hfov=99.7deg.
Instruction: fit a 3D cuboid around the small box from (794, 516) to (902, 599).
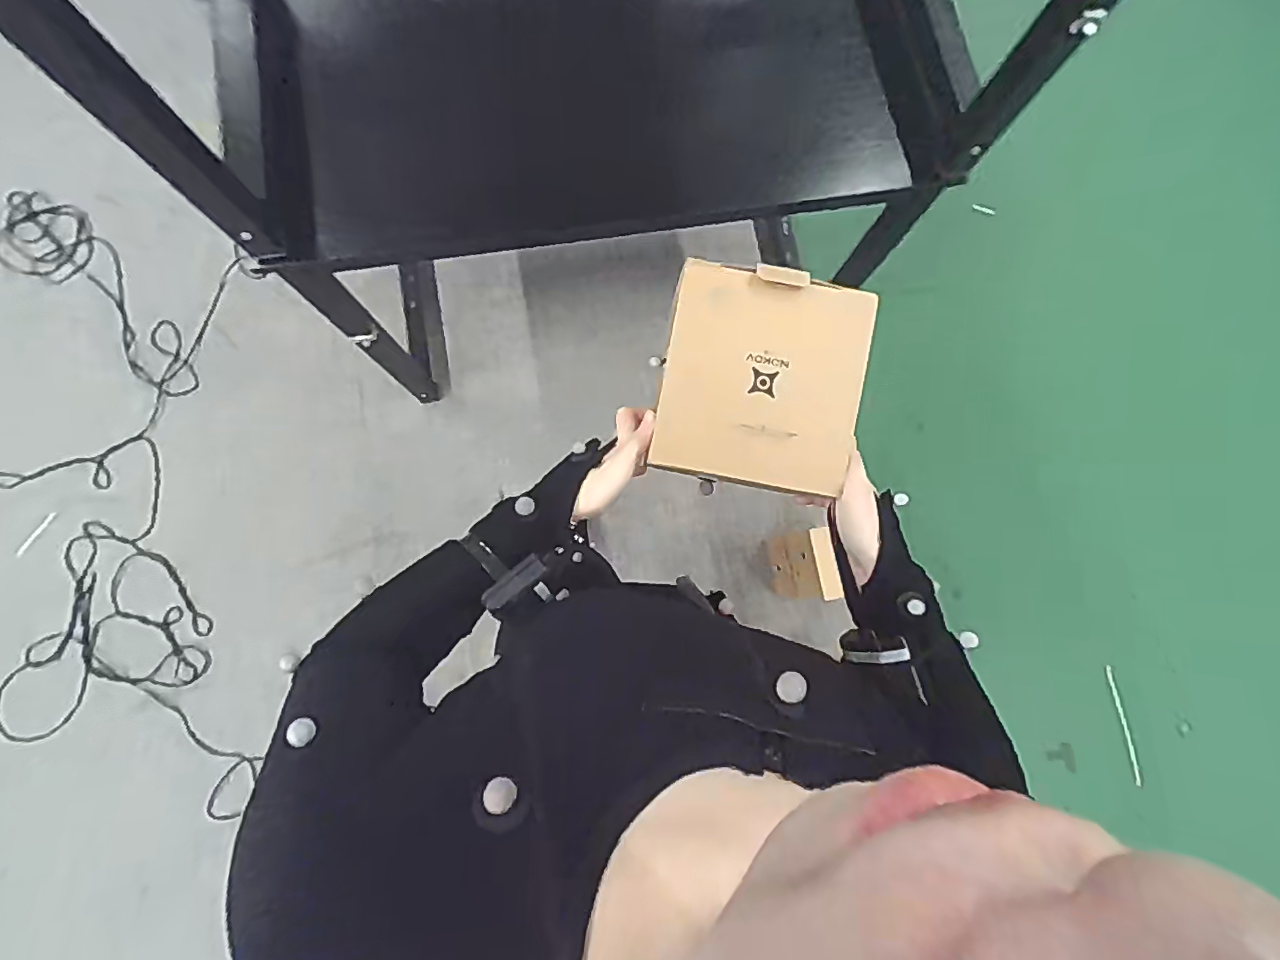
[{"bbox_3d":[0.481,0.187,1.287,0.179,0.176,0.168,-9,80,-5],"label":"small box"}]
